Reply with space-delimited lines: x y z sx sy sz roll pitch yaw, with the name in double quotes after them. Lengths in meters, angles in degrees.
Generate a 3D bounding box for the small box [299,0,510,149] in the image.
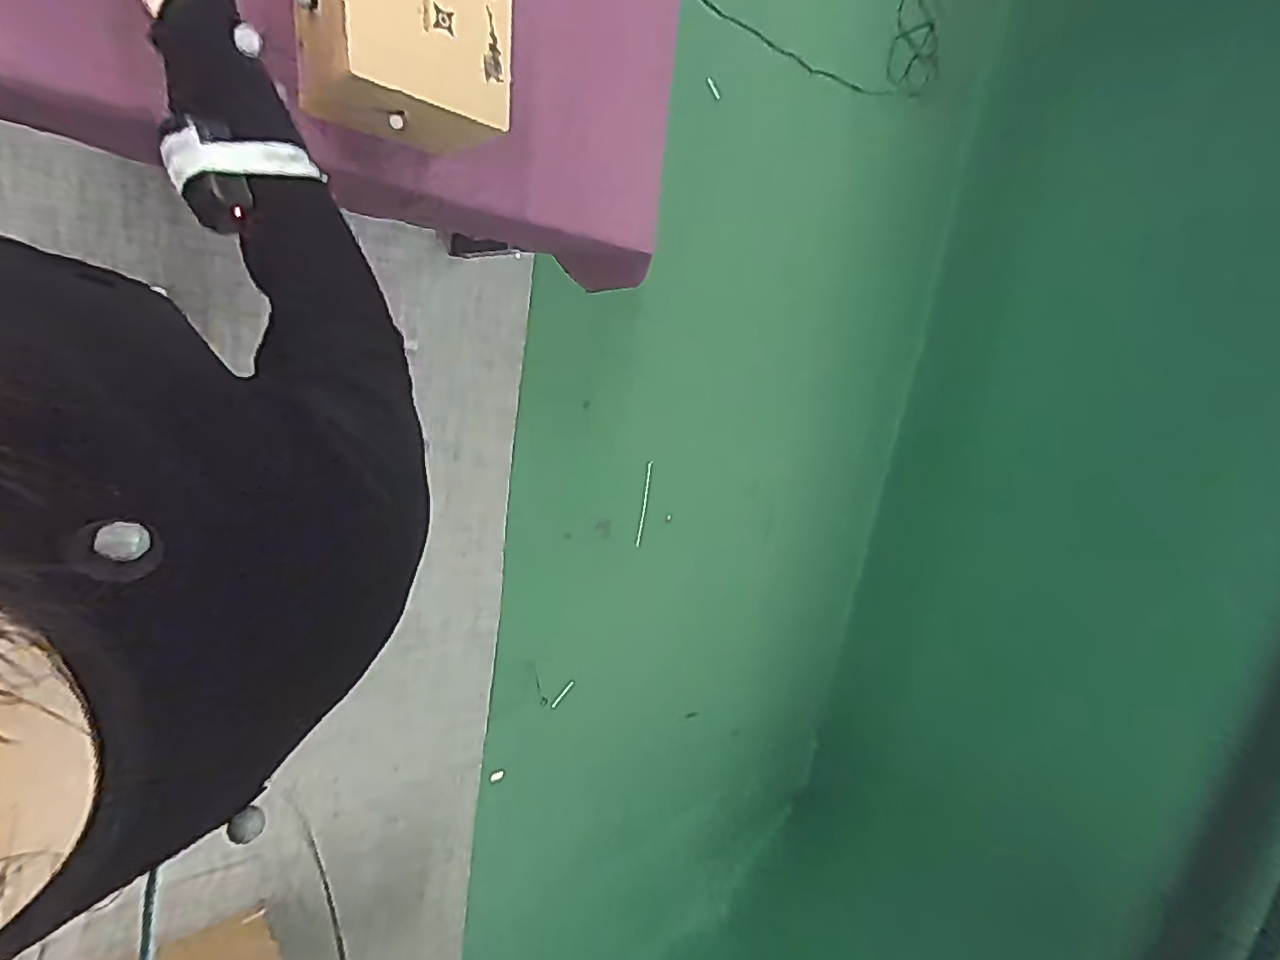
-0.263 -0.490 0.597 0.179 0.176 0.168 -8 110 -43 "small box"
